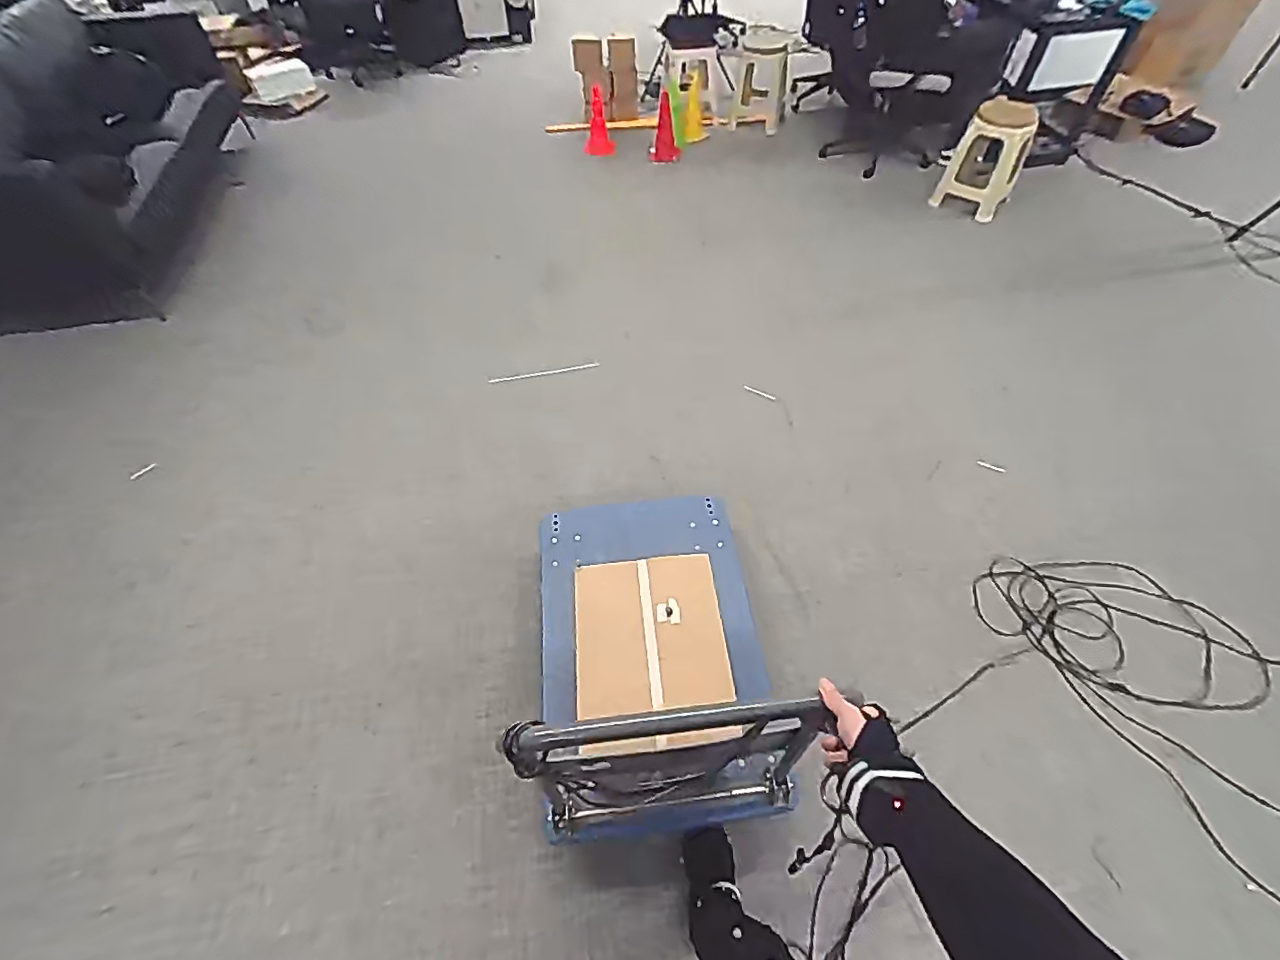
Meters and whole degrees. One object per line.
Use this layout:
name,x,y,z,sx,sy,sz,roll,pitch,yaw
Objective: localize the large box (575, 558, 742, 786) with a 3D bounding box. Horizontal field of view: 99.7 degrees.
large box,0.028,0.444,1.253,0.320,0.320,0.408,-5,51,-2
